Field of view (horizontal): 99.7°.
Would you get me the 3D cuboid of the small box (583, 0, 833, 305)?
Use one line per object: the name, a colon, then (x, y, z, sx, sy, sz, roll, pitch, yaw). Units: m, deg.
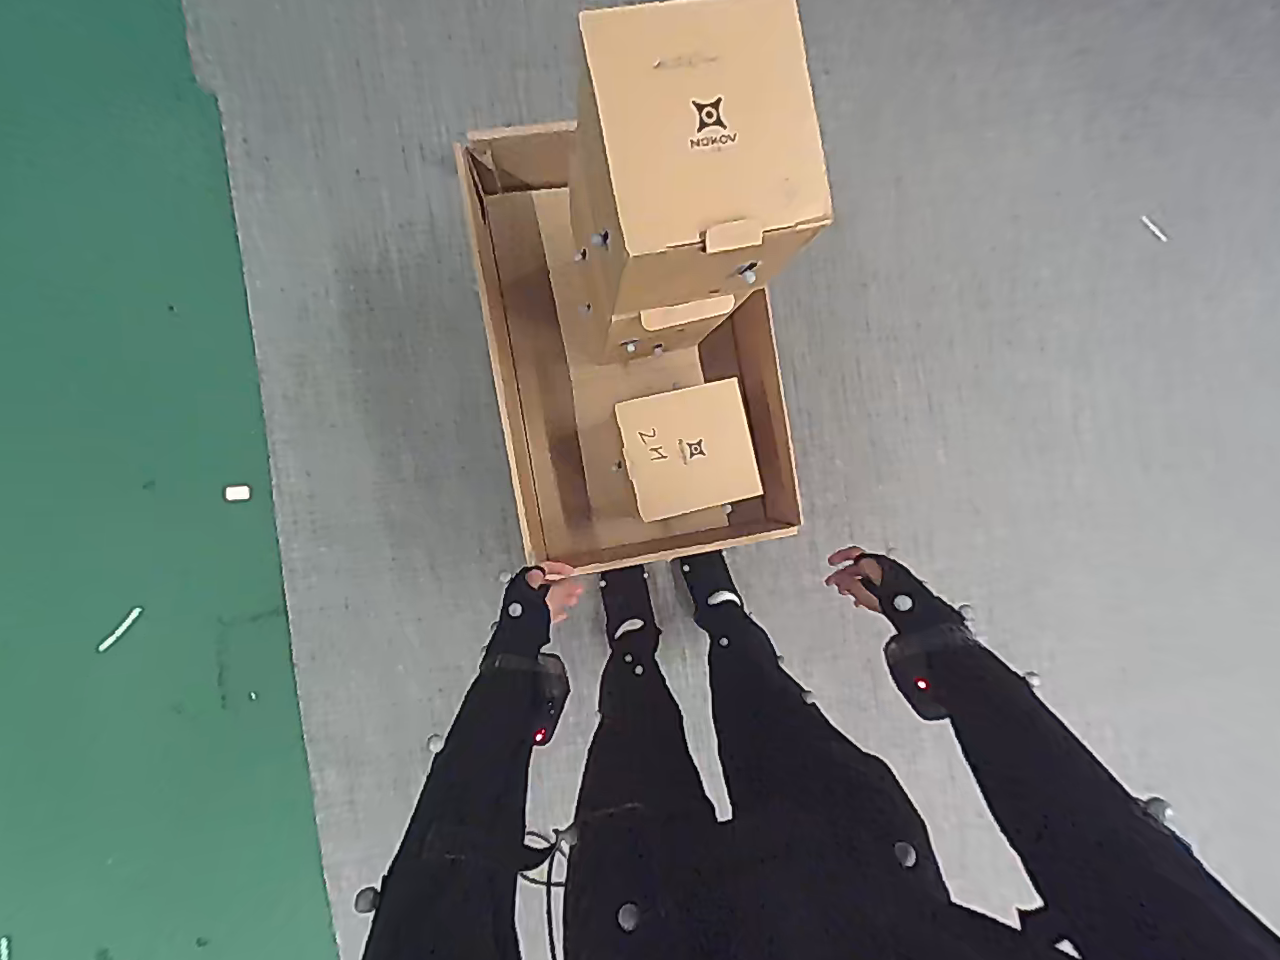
small box: (0.046, -0.266, 0.480, 0.168, 0.176, 0.179, -11, 94, -6)

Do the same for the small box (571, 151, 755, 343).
small box: (0.020, -0.271, 0.641, 0.168, 0.176, 0.179, -14, 93, -6)
